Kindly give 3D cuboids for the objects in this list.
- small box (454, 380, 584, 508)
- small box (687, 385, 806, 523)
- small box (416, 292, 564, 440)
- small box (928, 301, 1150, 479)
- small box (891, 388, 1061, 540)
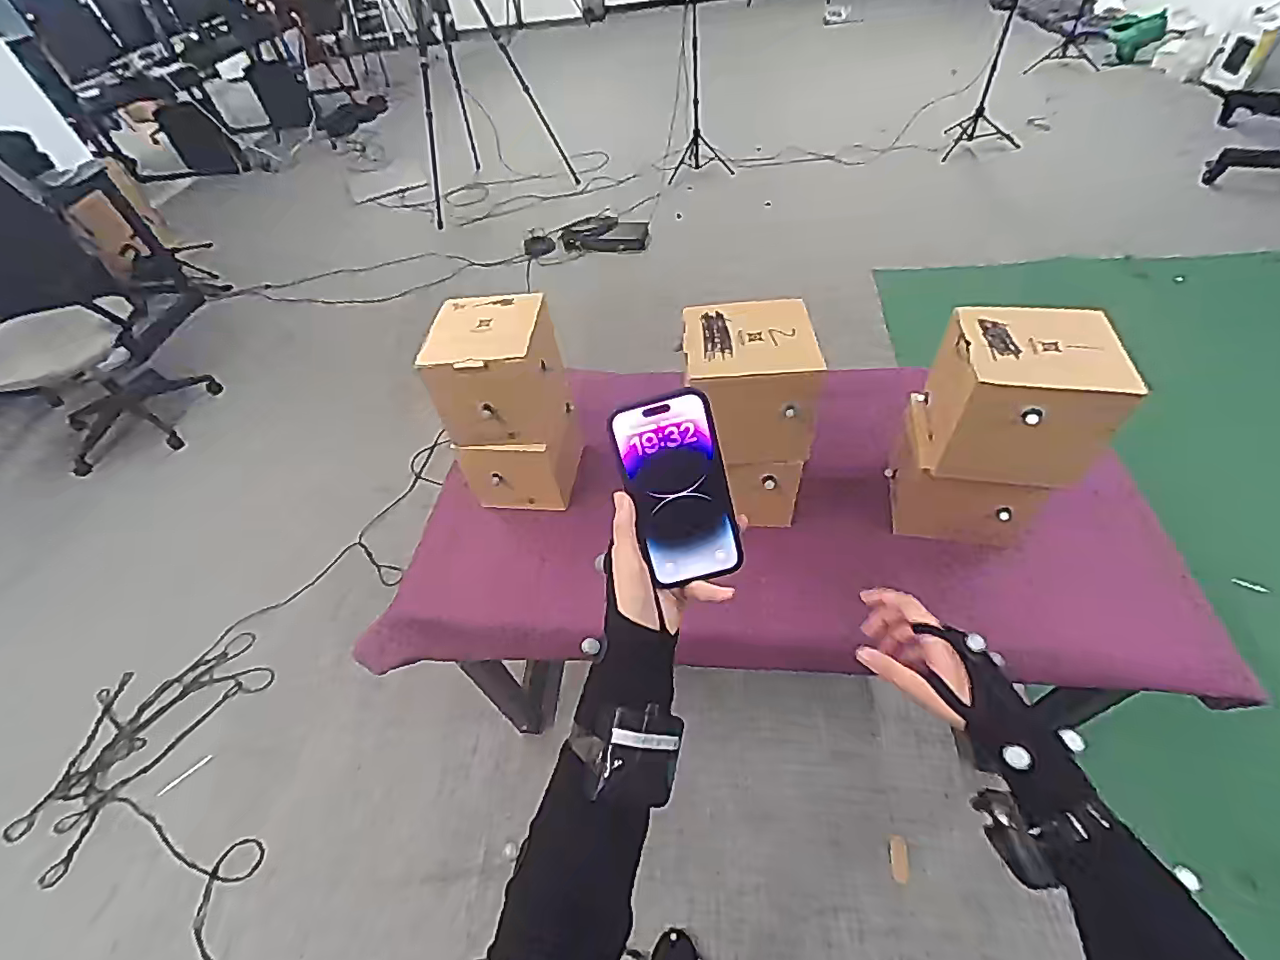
[{"bbox_3d":[-0.208,-0.064,0.988,0.168,0.176,0.179,2,50,10],"label":"small box"},{"bbox_3d":[0.175,-0.041,0.911,0.179,0.176,0.168,1,50,9],"label":"small box"},{"bbox_3d":[-0.225,-0.177,0.870,0.168,0.176,0.179,-2,50,6],"label":"small box"},{"bbox_3d":[0.498,-0.117,0.714,0.179,0.176,0.168,6,50,13],"label":"small box"},{"bbox_3d":[0.509,-0.023,0.848,0.179,0.176,0.168,6,50,14],"label":"small box"}]
